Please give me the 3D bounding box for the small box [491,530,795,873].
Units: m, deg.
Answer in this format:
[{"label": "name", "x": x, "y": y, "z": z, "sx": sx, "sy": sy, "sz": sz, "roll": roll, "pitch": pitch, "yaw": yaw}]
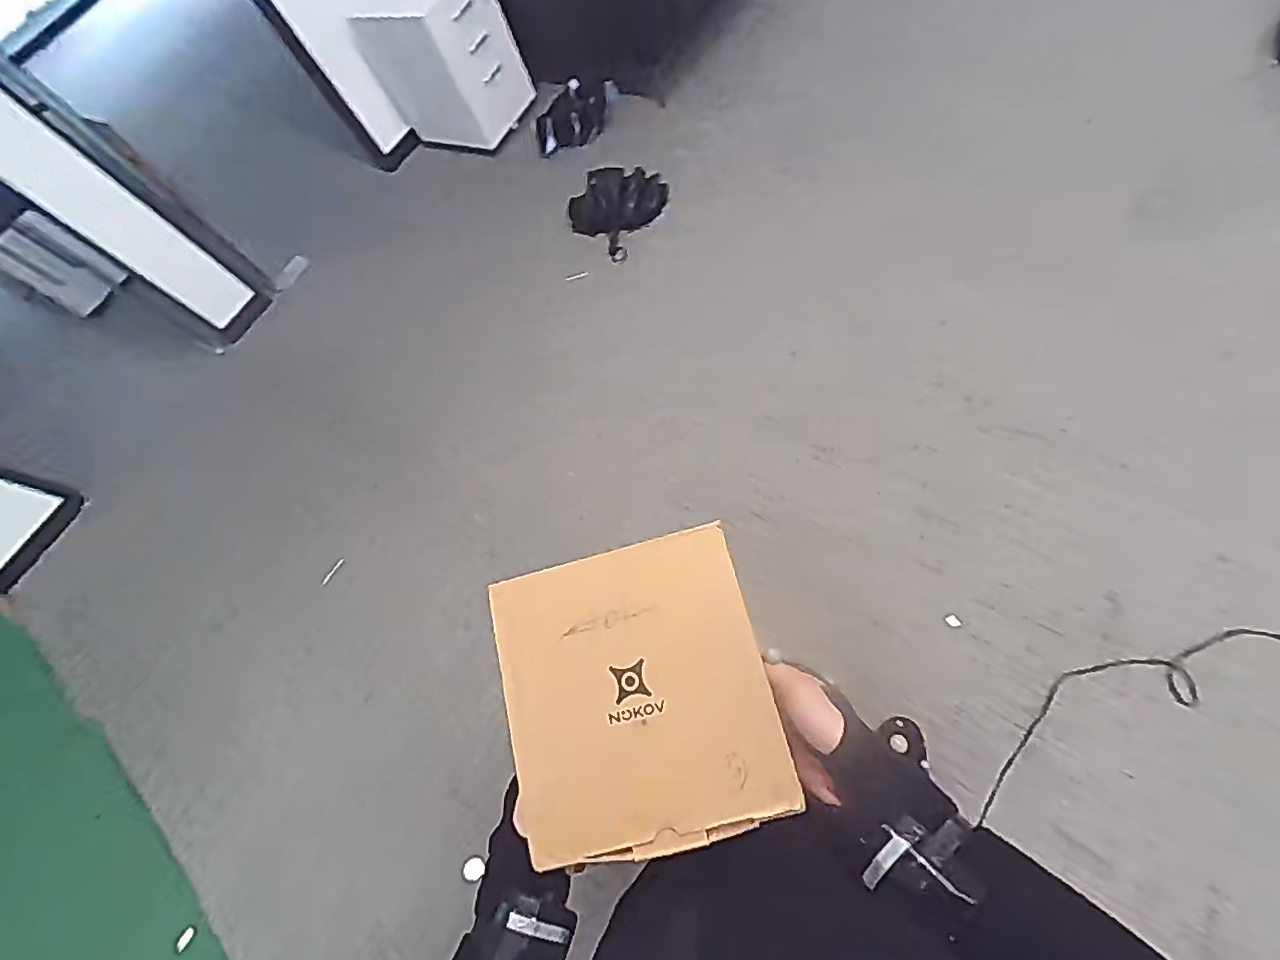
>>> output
[{"label": "small box", "x": 0.007, "y": 0.155, "z": 0.414, "sx": 0.168, "sy": 0.176, "sz": 0.179, "roll": -16, "pitch": 71, "yaw": 4}]
